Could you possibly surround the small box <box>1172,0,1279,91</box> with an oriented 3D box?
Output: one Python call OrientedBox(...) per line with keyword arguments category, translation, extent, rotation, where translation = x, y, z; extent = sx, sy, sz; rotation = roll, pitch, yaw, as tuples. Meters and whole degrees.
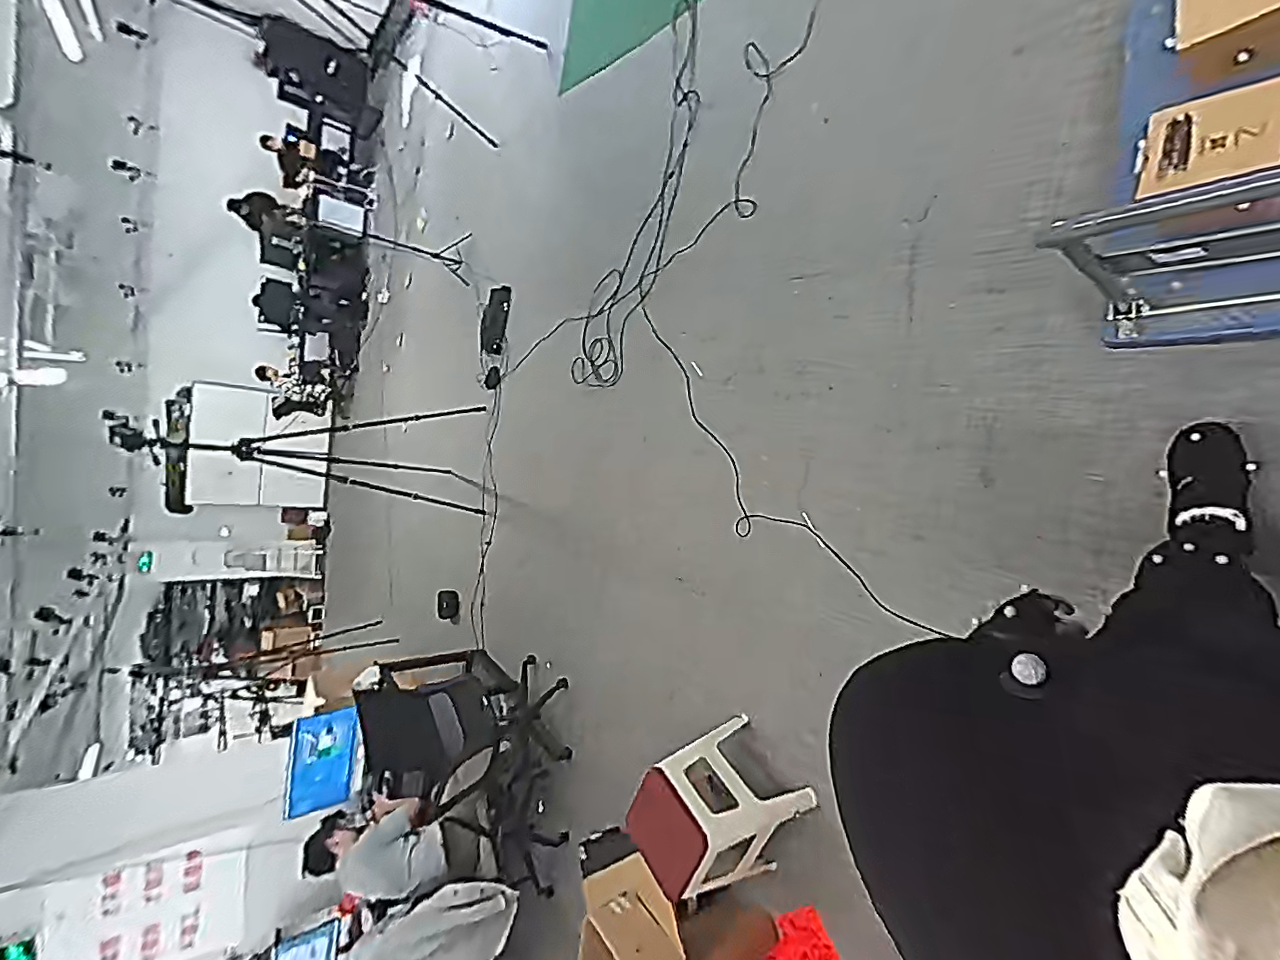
OrientedBox(category="small box", translation=(1.063, -0.831, 0.948), extent=(0.168, 0.176, 0.179), rotation=(1, 88, 50))
